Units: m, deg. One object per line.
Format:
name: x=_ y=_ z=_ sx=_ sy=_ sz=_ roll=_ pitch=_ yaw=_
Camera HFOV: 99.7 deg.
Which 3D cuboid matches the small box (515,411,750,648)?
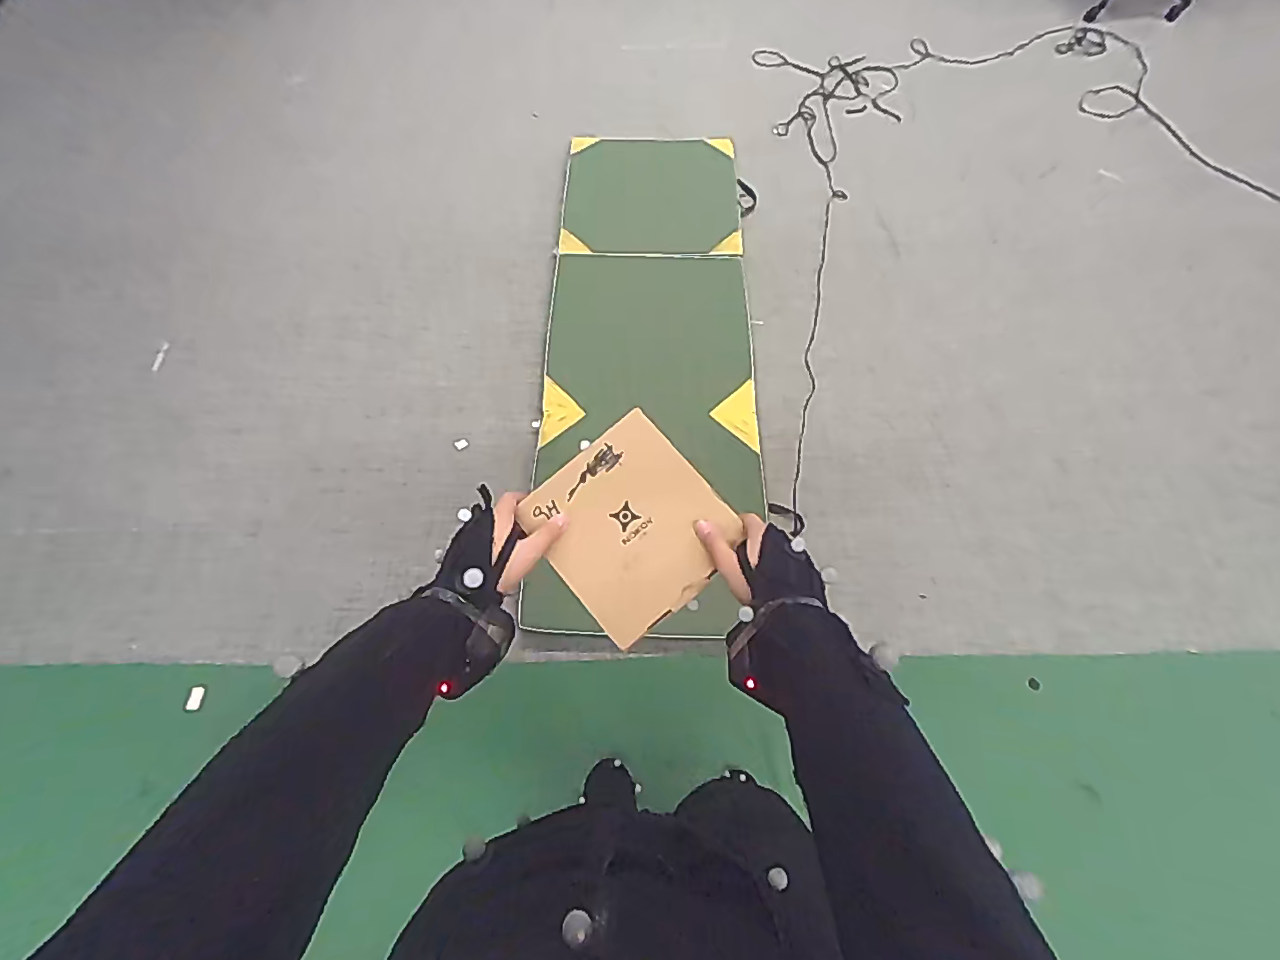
small box: x=-0.005 y=0.059 z=0.602 sx=0.168 sy=0.176 sz=0.179 roll=-40 pitch=78 yaw=-6
